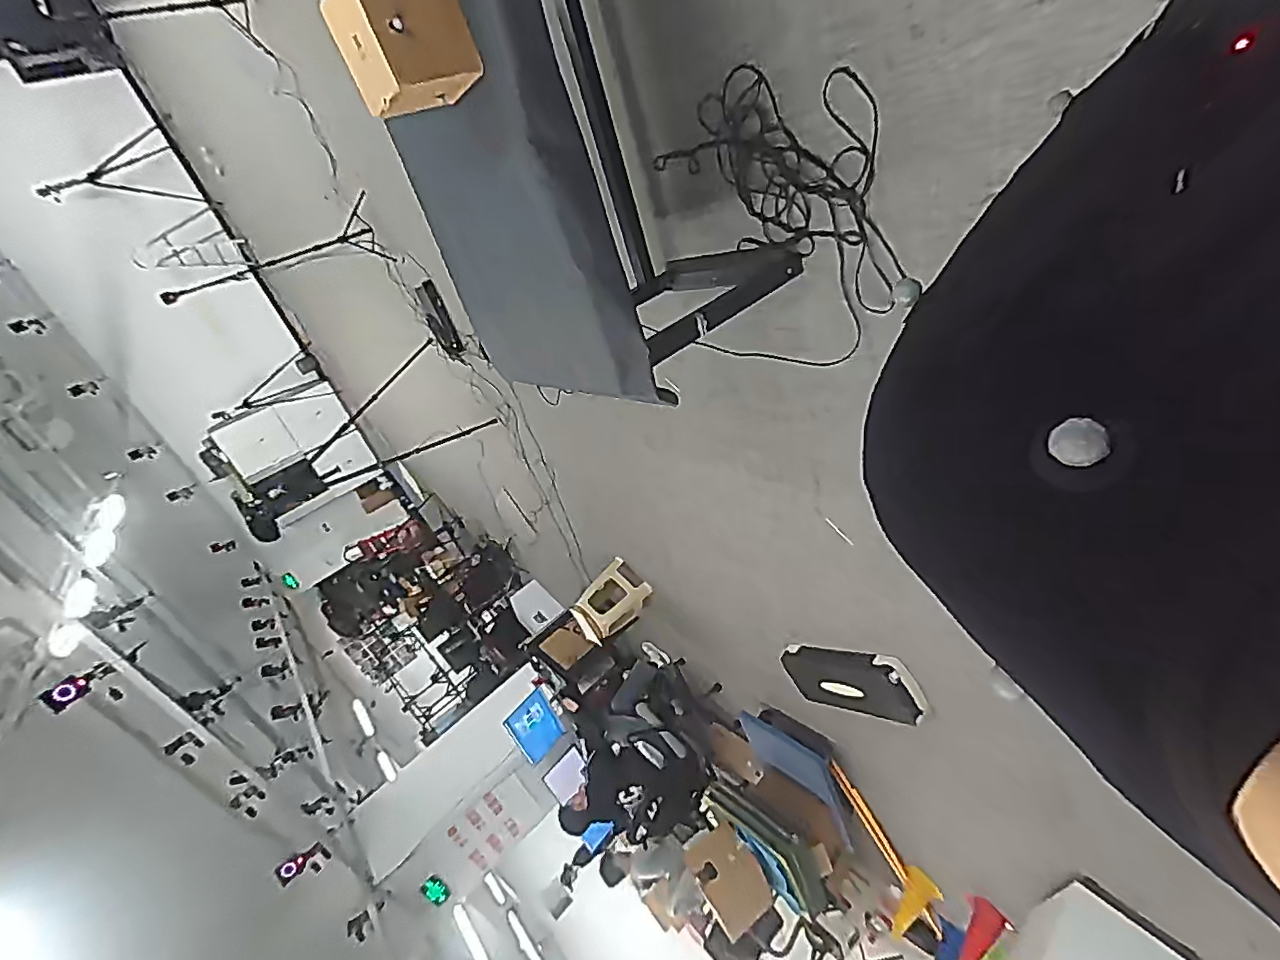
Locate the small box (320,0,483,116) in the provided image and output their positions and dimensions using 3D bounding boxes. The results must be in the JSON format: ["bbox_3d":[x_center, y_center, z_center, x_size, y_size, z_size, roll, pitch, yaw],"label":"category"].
[{"bbox_3d":[-0.404,-0.766,0.928,0.168,0.176,0.179,16,136,50],"label":"small box"}]
